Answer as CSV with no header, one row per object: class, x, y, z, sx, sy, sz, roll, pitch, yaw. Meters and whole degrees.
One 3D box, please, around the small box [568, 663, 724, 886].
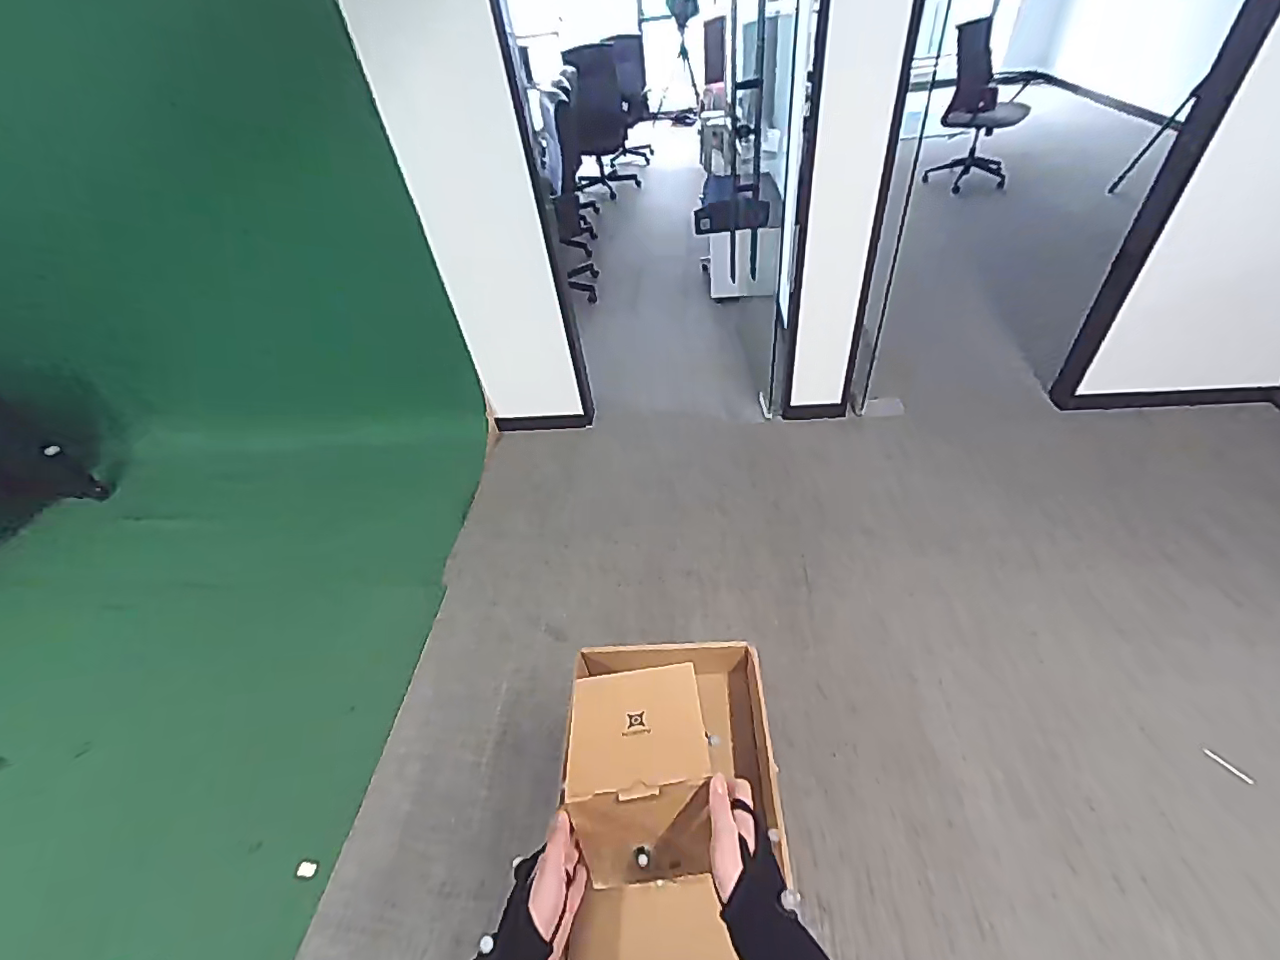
small box,0.008,0.366,0.686,0.168,0.176,0.179,-8,26,0
